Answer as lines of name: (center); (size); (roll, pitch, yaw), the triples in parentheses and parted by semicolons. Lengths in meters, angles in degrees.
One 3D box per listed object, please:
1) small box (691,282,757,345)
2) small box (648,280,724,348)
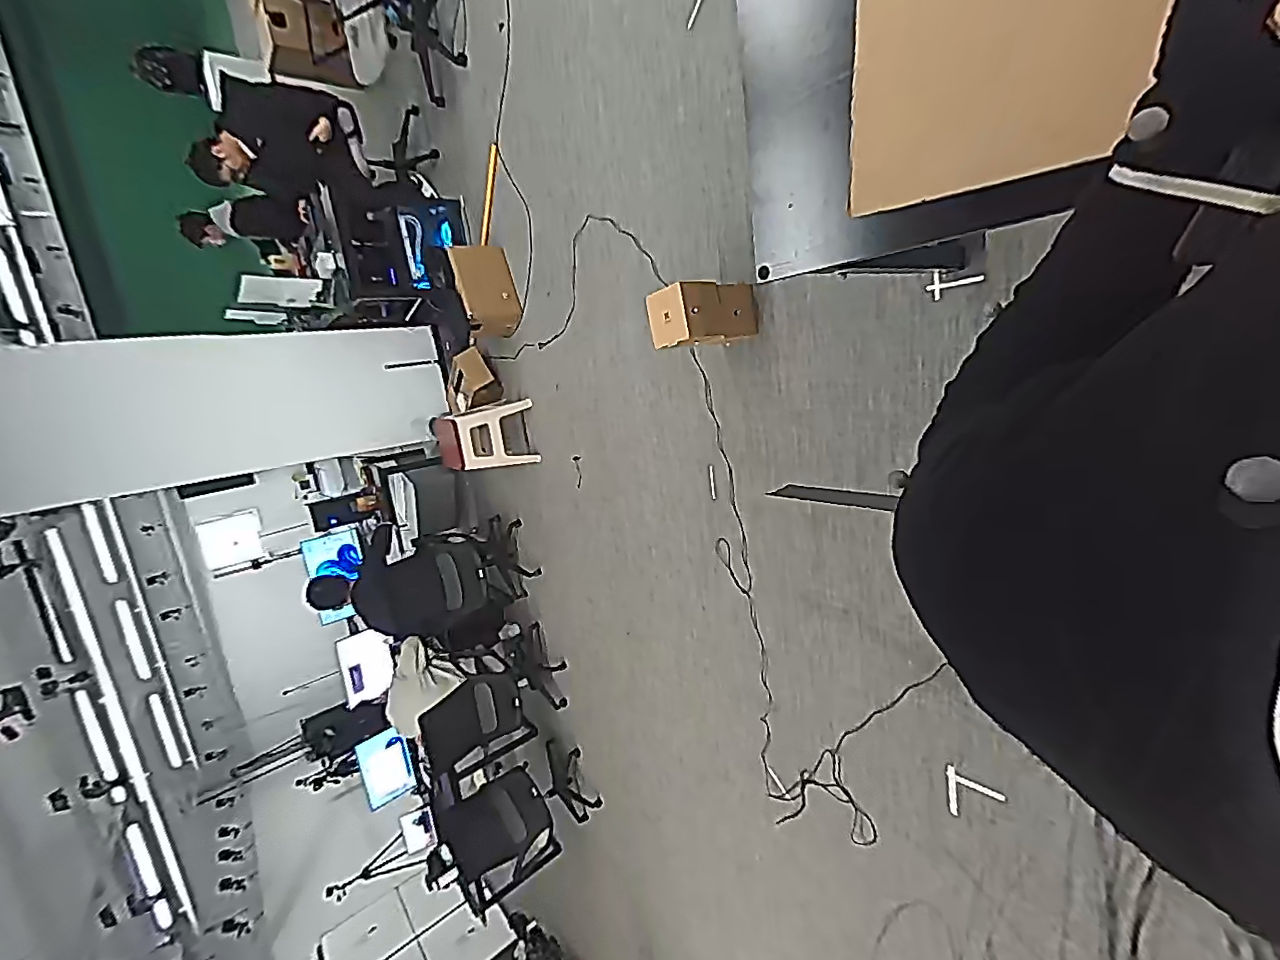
small box: (0.278, -0.567, 1.847); (0.168, 0.176, 0.179); (2, 105, 52)
small box: (0.152, -0.537, 1.748); (0.168, 0.176, 0.179); (-3, 100, 52)
